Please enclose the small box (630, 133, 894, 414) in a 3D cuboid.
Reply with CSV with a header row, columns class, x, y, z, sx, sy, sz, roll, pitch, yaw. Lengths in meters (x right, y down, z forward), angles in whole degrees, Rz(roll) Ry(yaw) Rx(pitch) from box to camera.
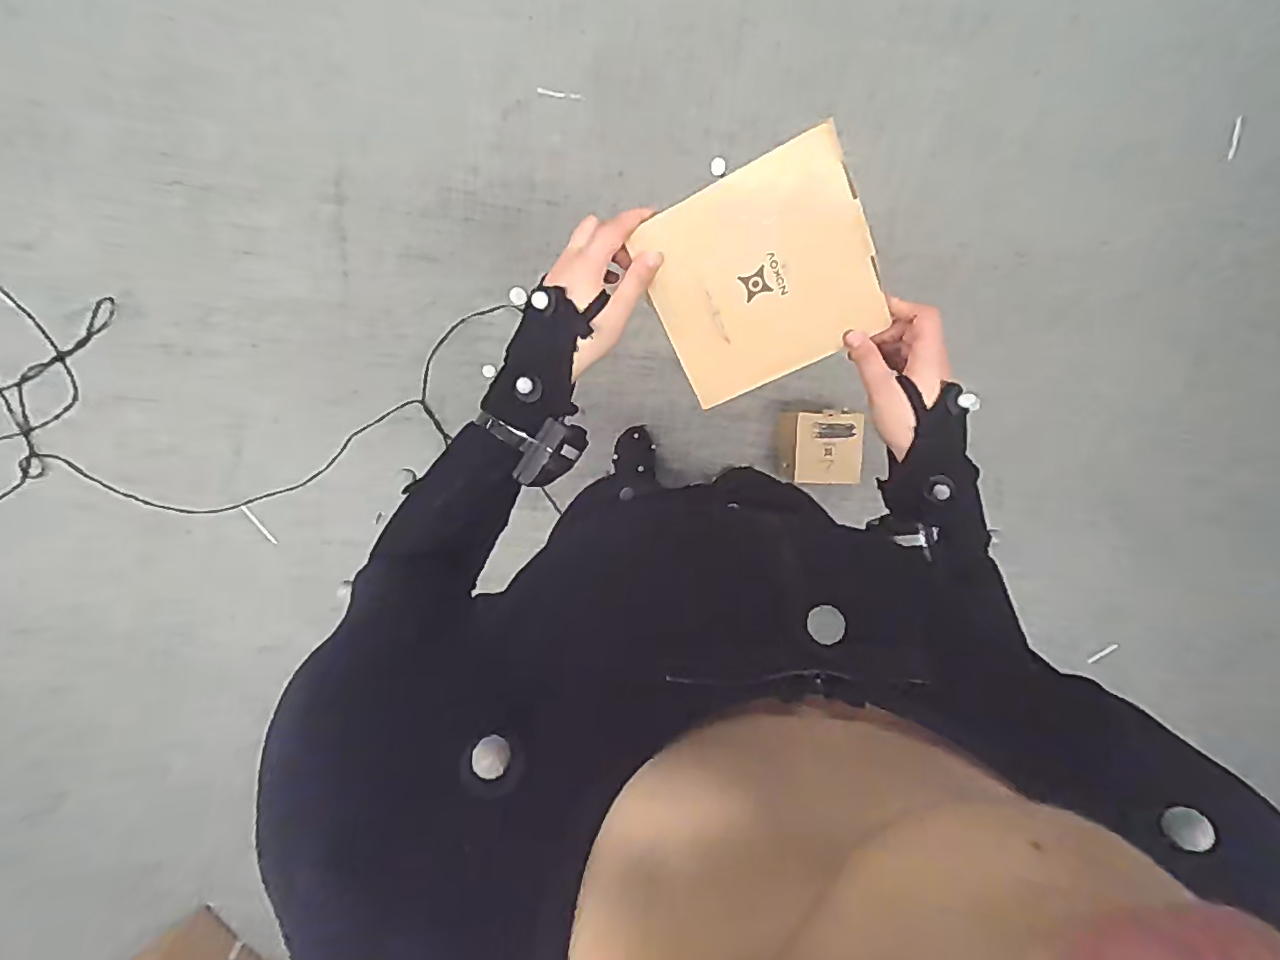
class,x,y,z,sx,sy,sz,roll,pitch,yaw
small box,0.106,-0.193,0.513,0.179,0.176,0.168,-23,112,15
